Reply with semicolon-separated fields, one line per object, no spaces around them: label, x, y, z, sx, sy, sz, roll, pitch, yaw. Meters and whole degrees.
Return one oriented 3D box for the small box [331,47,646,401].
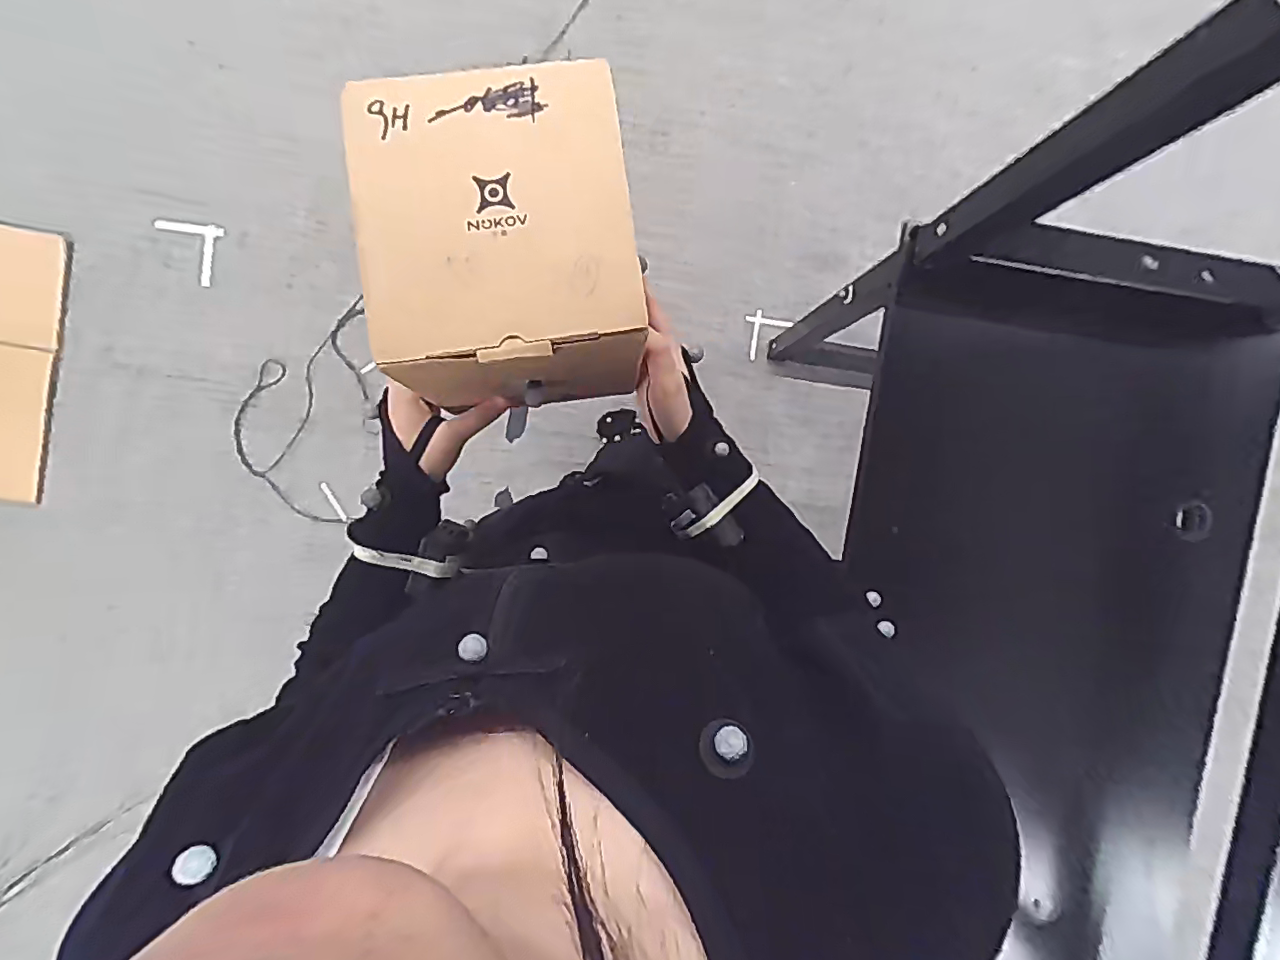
small box;-0.092;-0.159;0.393;0.168;0.176;0.179;-8;87;-6
